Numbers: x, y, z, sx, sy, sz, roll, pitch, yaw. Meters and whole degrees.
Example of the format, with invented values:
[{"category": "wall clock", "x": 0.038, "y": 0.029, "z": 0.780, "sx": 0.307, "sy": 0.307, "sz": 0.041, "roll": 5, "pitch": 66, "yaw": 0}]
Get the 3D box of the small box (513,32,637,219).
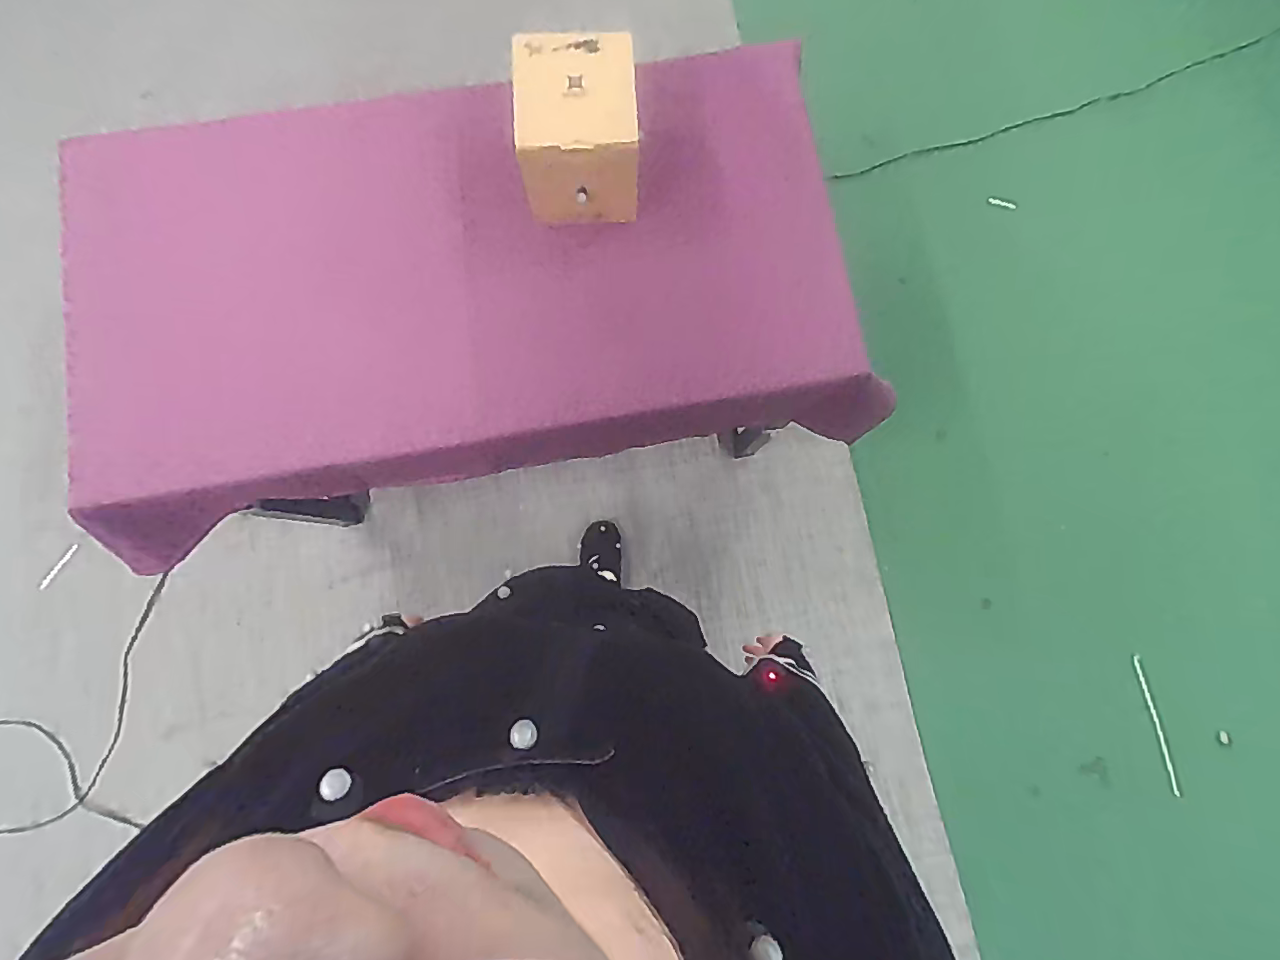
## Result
[{"category": "small box", "x": -0.089, "y": -0.511, "z": 0.804, "sx": 0.168, "sy": 0.176, "sz": 0.179, "roll": -2, "pitch": 82, "yaw": -2}]
